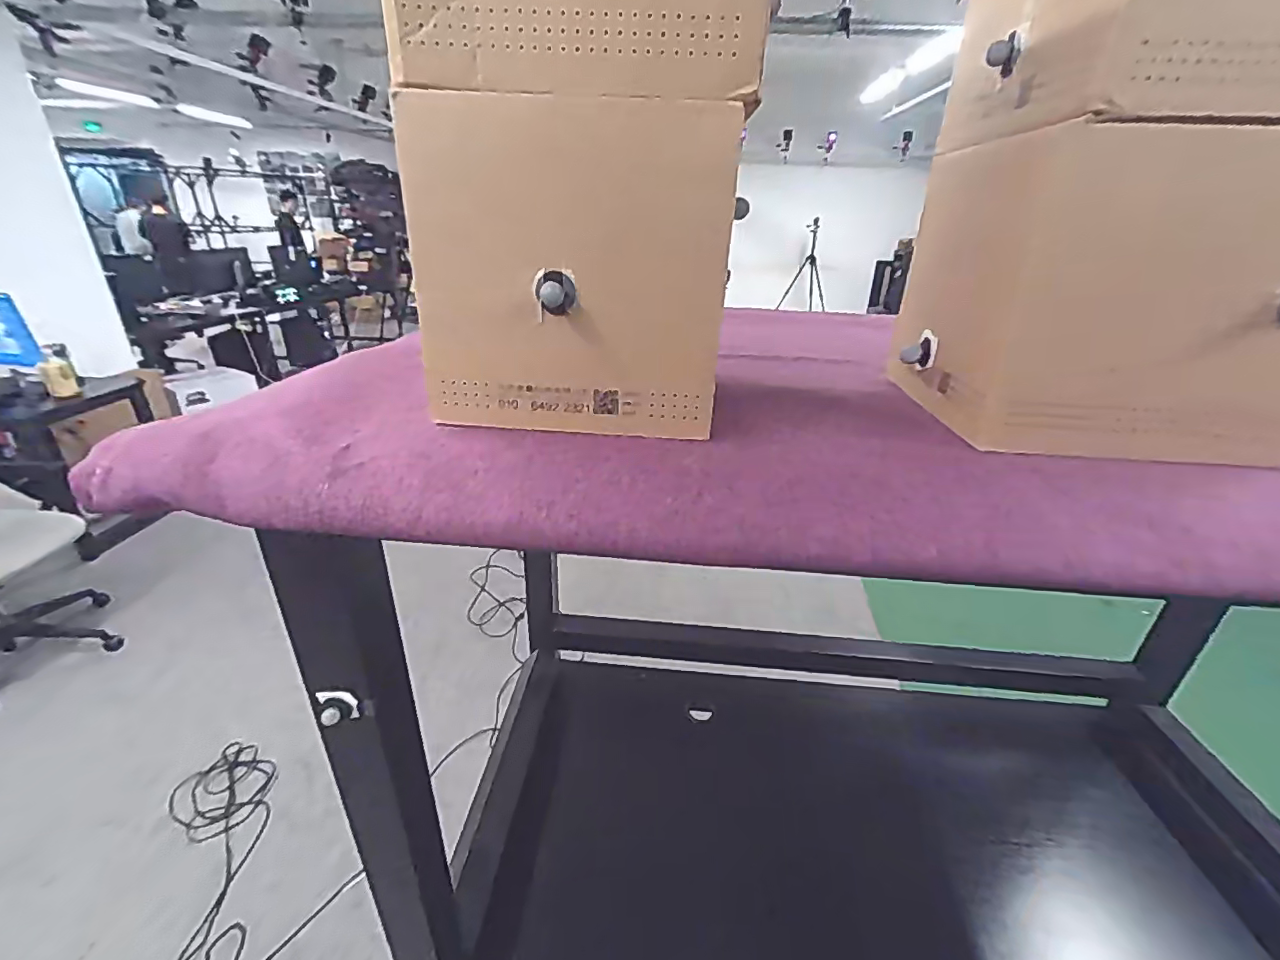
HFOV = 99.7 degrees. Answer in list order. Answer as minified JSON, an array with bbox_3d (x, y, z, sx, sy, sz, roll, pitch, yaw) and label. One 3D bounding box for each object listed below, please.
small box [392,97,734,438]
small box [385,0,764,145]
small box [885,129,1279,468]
[{"bbox_3d":[-0.033,-0.135,0.359,0.168,0.176,0.179,4,26,2],"label":"small box"},{"bbox_3d":[-0.025,-0.281,0.286,0.179,0.176,0.168,4,27,1],"label":"small box"},{"bbox_3d":[0.287,-0.115,0.350,0.179,0.176,0.168,2,25,3],"label":"small box"}]
